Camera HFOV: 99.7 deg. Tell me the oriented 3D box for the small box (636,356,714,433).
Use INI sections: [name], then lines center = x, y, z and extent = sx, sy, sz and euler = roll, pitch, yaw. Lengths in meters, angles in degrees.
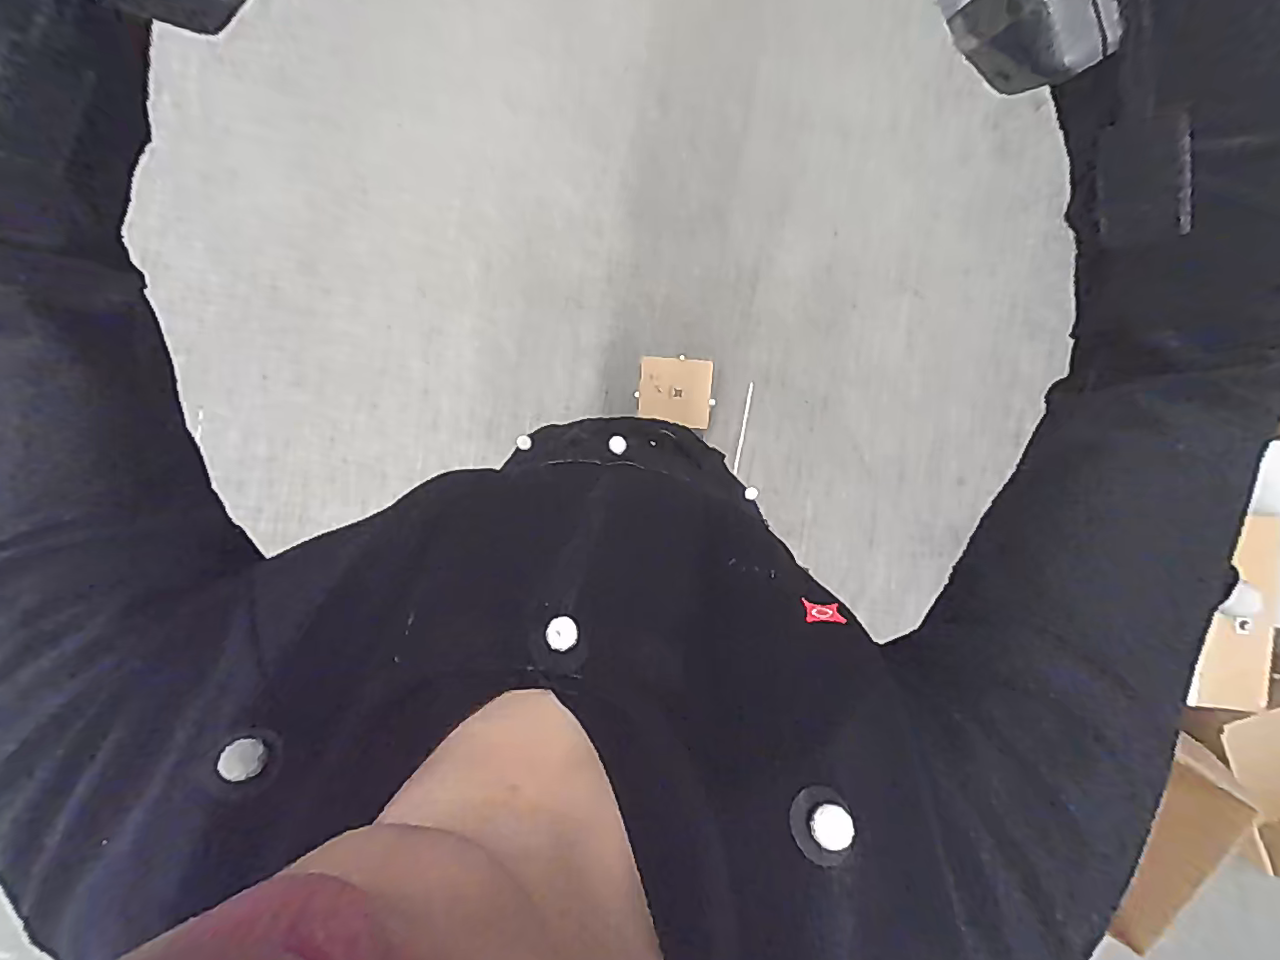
[small box]
center = 0.087, -0.211, 1.378
extent = 0.179, 0.176, 0.168
euler = 6, 92, 3
